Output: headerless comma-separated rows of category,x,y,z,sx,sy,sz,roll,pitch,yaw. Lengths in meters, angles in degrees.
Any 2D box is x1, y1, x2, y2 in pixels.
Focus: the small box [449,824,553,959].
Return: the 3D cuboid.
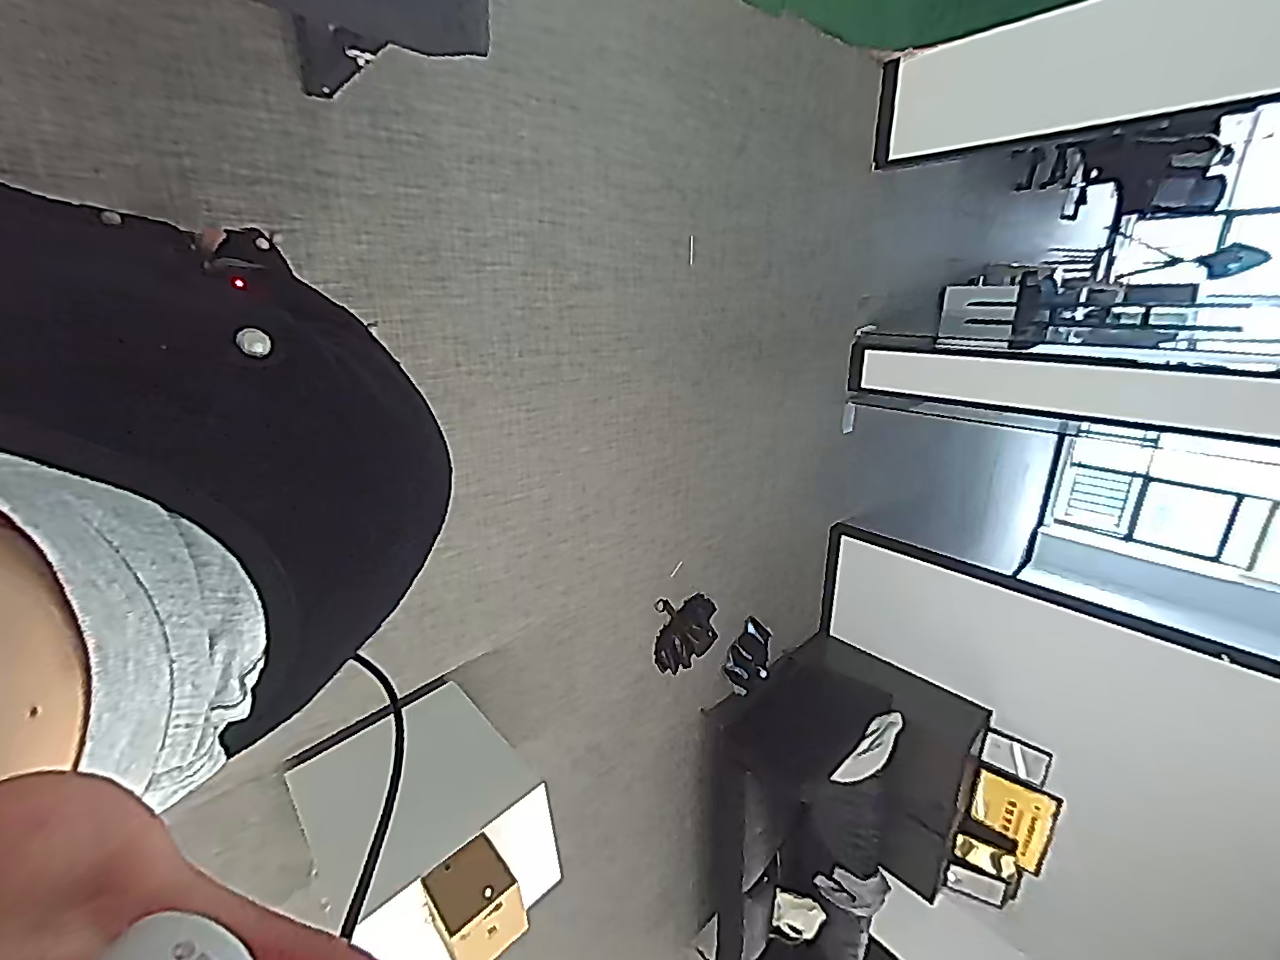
small box,-0.329,0.971,1.280,0.168,0.176,0.179,-24,121,-38
